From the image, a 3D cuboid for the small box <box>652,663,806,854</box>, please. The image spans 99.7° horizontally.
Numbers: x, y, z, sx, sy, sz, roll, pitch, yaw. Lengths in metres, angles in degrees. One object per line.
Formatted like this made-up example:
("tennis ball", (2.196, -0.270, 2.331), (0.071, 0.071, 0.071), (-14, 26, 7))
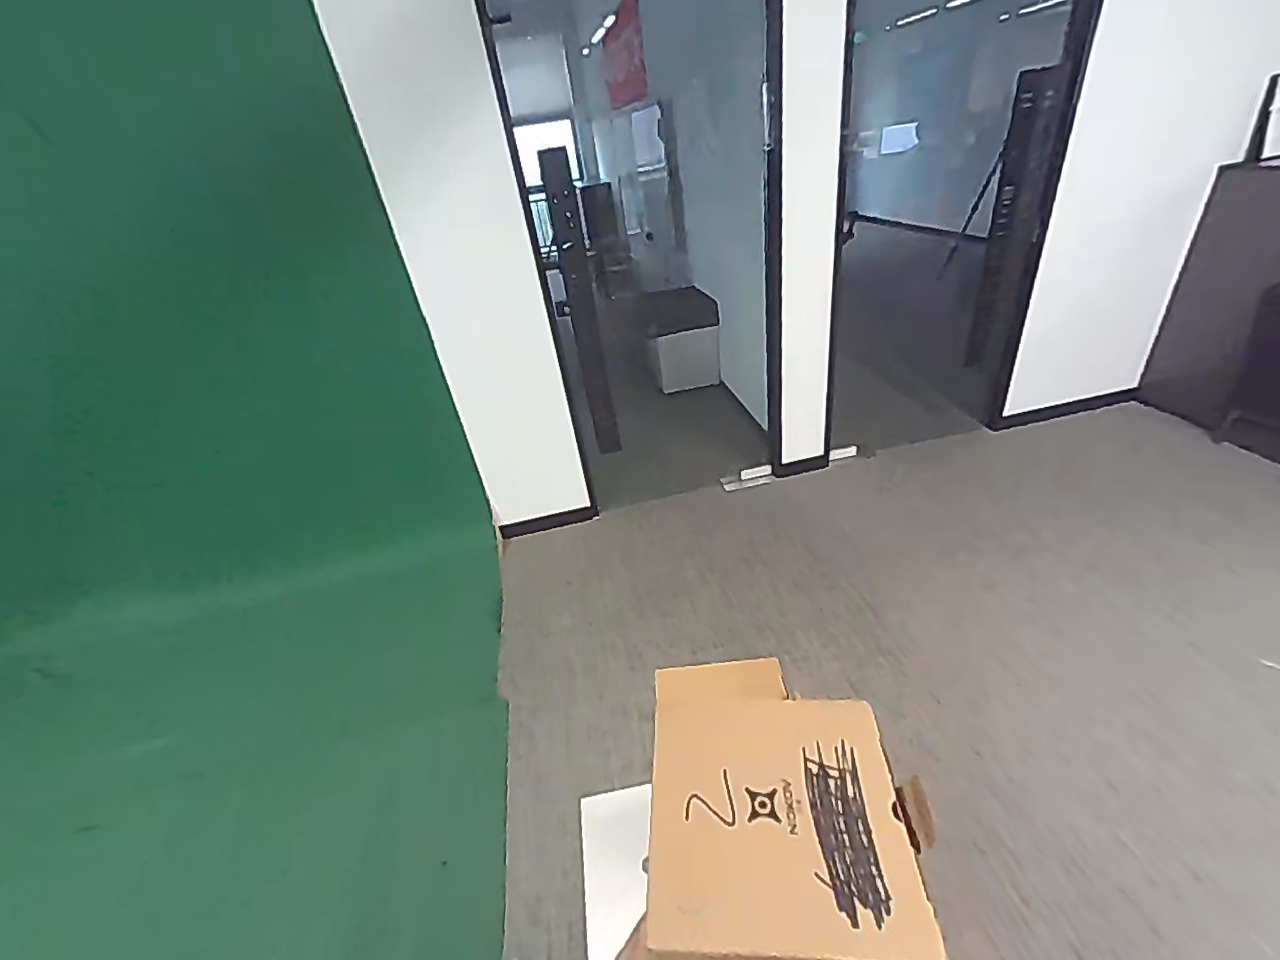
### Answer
("small box", (0.115, 0.375, 0.729), (0.179, 0.176, 0.168), (-7, 32, 2))
